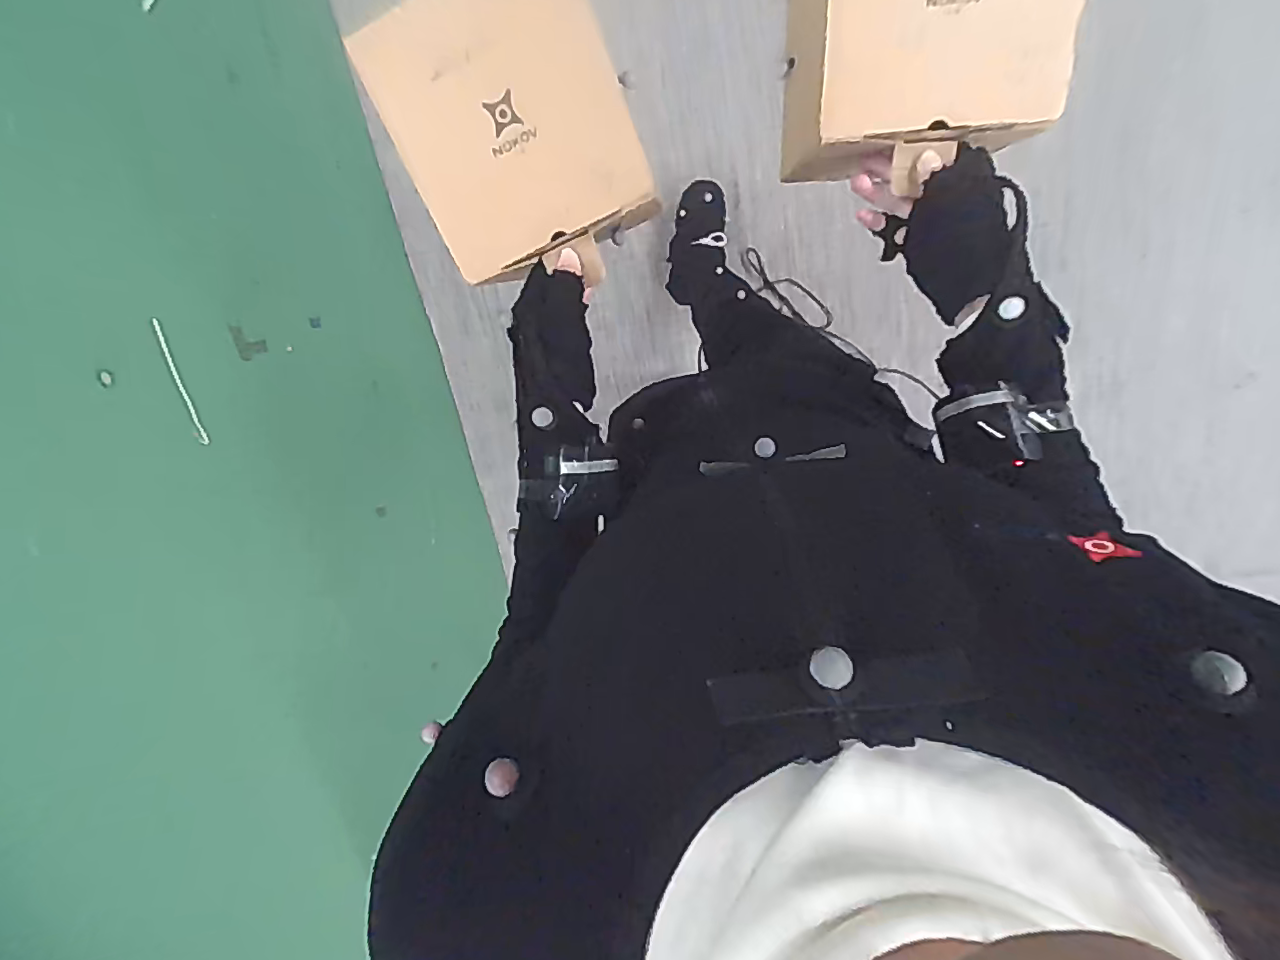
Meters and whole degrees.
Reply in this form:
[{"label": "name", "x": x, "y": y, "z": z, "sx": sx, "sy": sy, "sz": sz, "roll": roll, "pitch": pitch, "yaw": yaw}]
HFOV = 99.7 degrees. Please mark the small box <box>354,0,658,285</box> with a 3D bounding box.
[{"label": "small box", "x": -0.091, "y": -0.289, "z": 0.467, "sx": 0.168, "sy": 0.176, "sz": 0.179, "roll": -22, "pitch": 108, "yaw": 12}]
